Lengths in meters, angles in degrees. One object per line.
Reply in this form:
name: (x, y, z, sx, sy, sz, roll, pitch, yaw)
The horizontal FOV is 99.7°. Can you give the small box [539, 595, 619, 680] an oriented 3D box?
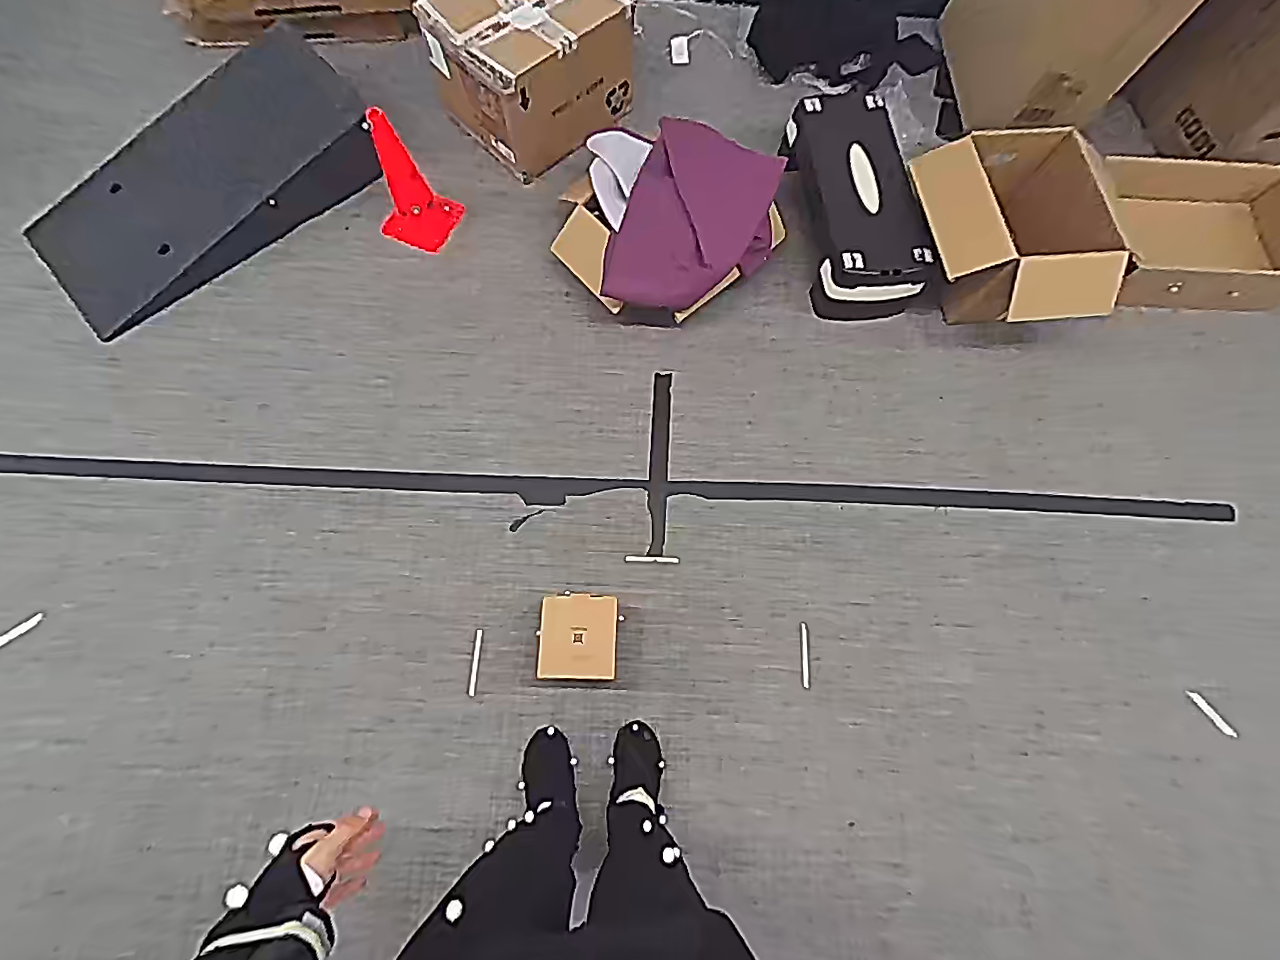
small box: (-0.134, 0.362, 1.243, 0.168, 0.176, 0.179, 1, 74, -1)
